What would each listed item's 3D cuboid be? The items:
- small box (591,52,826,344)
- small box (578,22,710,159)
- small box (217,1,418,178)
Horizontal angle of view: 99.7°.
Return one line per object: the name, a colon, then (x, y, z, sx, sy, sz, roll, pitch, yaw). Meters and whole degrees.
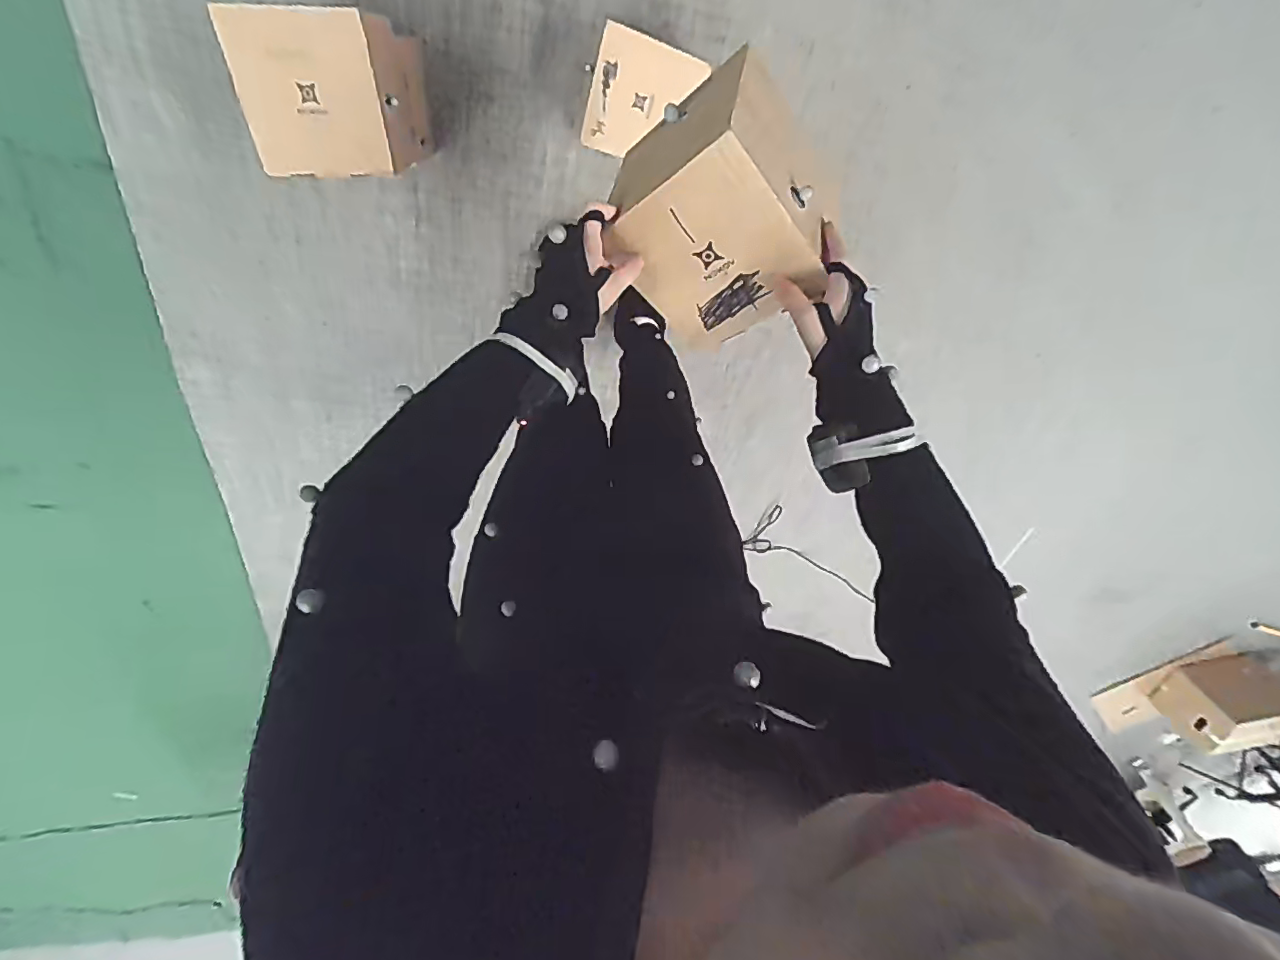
small box: (0.081, -0.284, 0.564, 0.168, 0.176, 0.179, -20, 135, 41)
small box: (-0.001, -0.645, 0.924, 0.179, 0.176, 0.168, 11, 124, -18)
small box: (-0.416, -0.527, 0.739, 0.168, 0.176, 0.179, -3, 127, -8)
